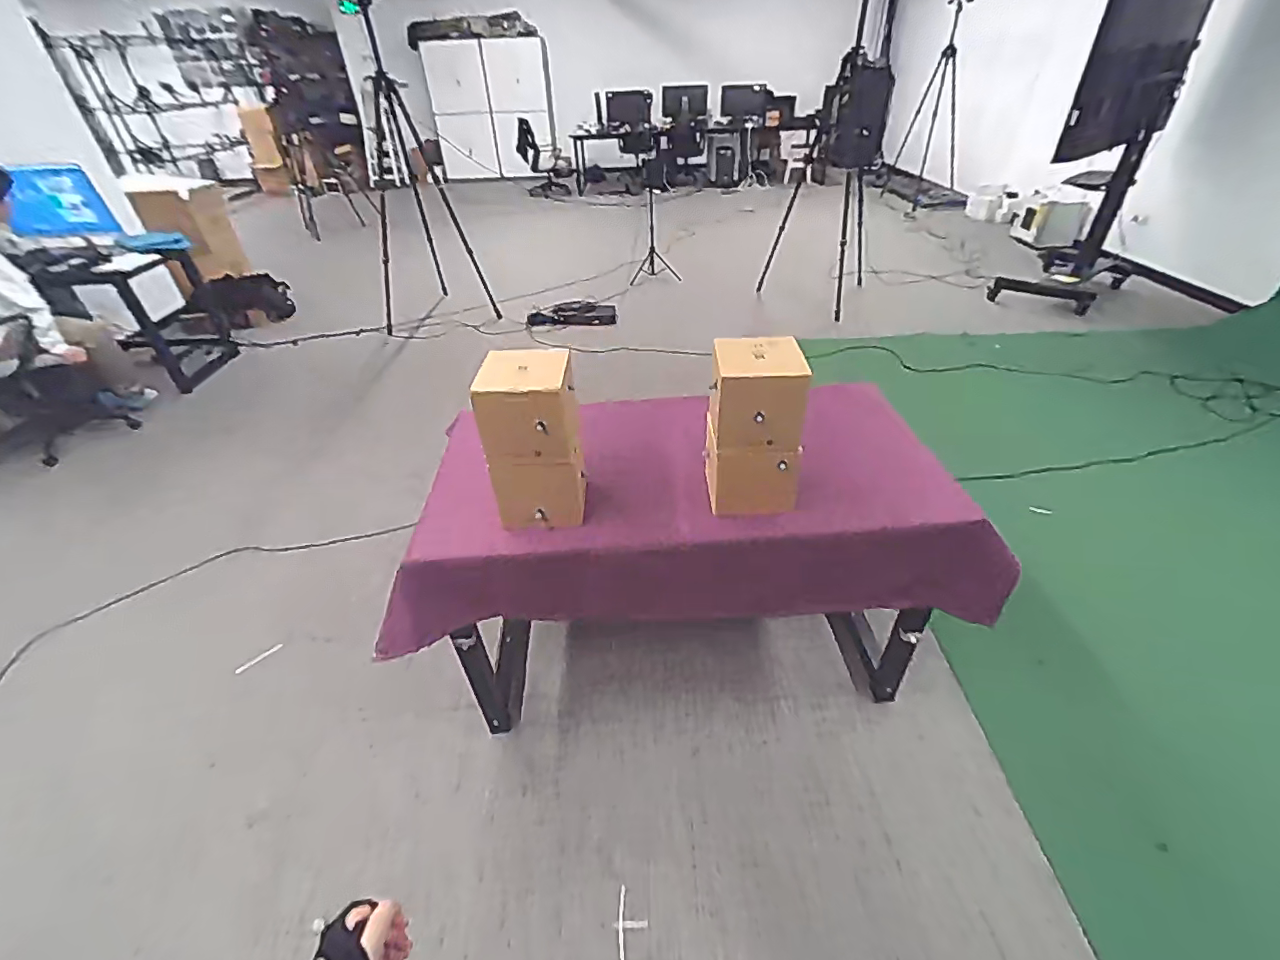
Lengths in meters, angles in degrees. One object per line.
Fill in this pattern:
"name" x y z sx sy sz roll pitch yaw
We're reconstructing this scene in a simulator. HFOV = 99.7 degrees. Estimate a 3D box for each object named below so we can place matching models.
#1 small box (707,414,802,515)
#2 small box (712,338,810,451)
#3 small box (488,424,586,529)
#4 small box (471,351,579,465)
"small box" 0.240 -0.035 1.179 0.179 0.176 0.168 -2 37 1
"small box" 0.233 -0.169 1.084 0.168 0.176 0.179 0 37 3
"small box" -0.212 -0.008 1.175 0.179 0.176 0.168 -2 37 0
"small box" -0.218 -0.141 1.080 0.168 0.176 0.179 -1 37 2
